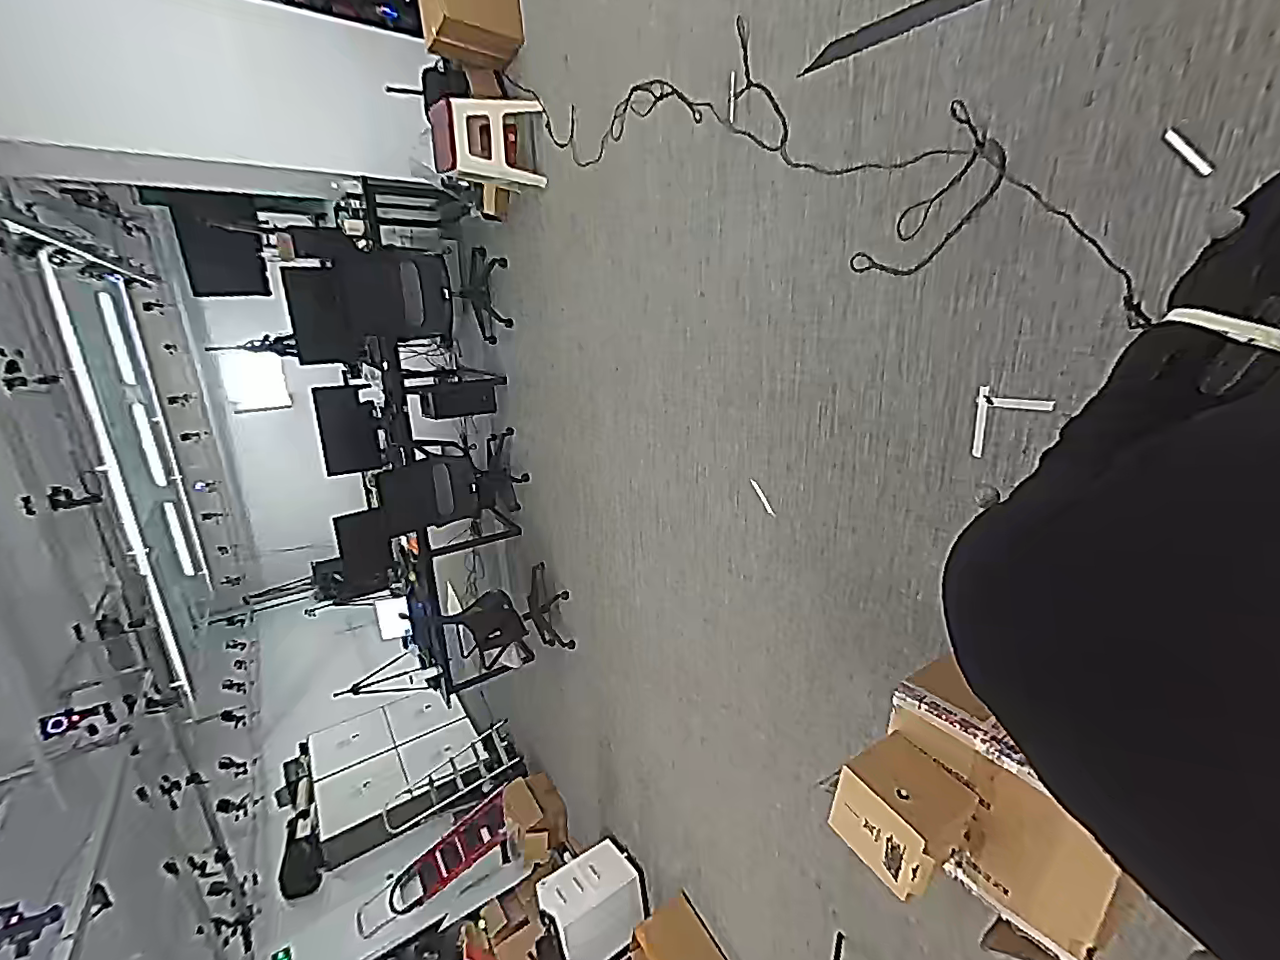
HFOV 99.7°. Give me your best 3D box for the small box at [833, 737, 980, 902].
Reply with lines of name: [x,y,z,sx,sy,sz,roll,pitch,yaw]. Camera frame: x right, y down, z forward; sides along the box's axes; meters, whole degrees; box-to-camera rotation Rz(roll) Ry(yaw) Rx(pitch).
small box: [0.506,0.633,1.032,0.179,0.176,0.168,34,127,52]
